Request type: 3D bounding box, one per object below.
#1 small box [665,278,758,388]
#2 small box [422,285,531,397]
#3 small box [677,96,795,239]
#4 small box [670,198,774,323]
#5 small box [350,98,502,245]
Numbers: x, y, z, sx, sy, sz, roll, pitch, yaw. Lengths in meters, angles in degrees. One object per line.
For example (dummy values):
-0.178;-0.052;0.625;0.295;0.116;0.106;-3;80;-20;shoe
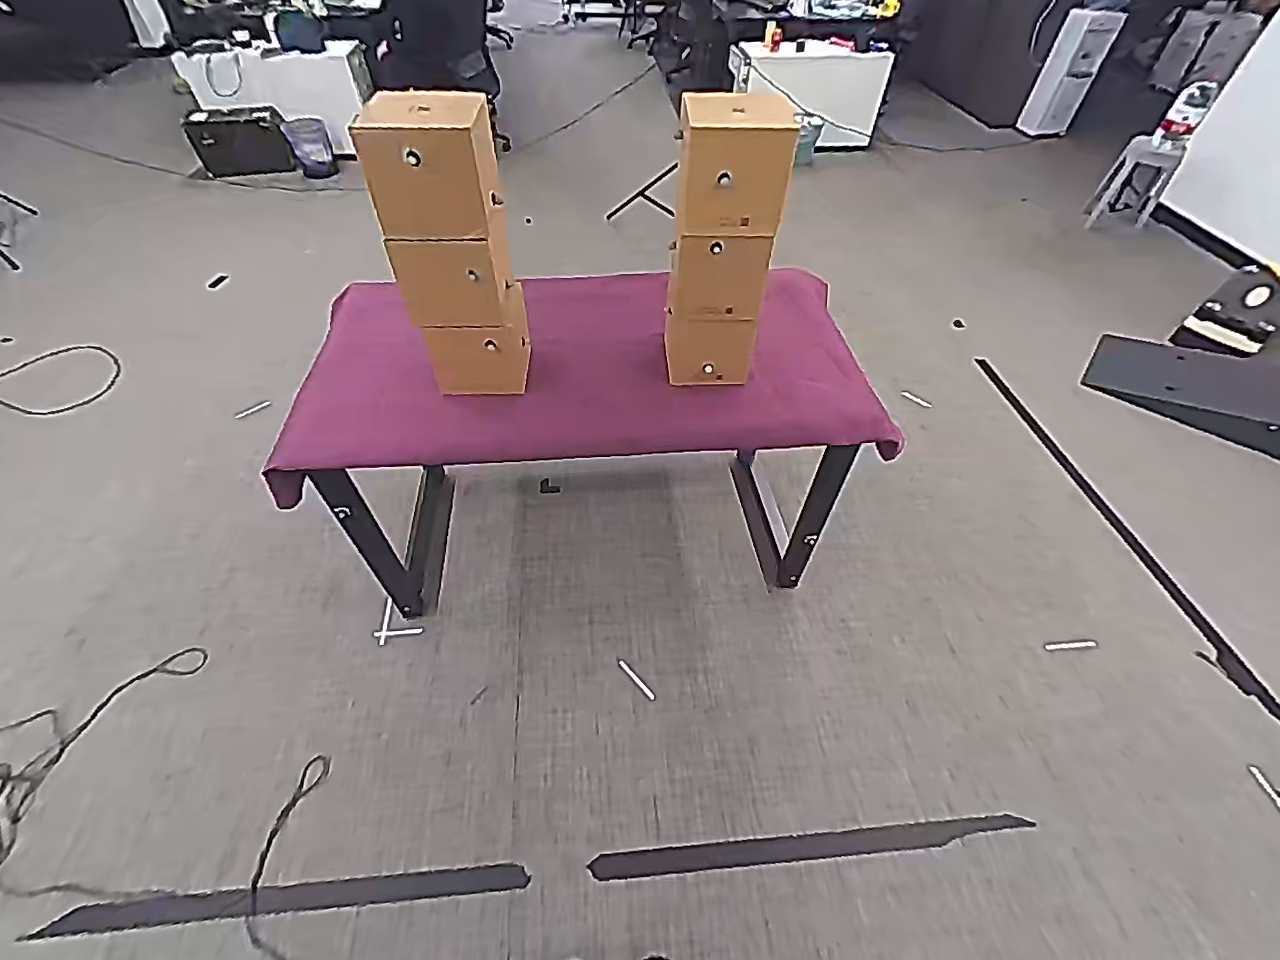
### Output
0.145;-0.319;1.169;0.168;0.176;0.179;-2;50;-2;small box
-0.330;-0.287;1.131;0.179;0.176;0.168;-1;49;-2;small box
0.151;-0.524;0.914;0.168;0.176;0.179;-1;49;-1;small box
0.147;-0.423;1.042;0.168;0.176;0.179;0;48;-1;small box
-0.334;-0.502;0.885;0.179;0.176;0.168;-1;50;-4;small box
